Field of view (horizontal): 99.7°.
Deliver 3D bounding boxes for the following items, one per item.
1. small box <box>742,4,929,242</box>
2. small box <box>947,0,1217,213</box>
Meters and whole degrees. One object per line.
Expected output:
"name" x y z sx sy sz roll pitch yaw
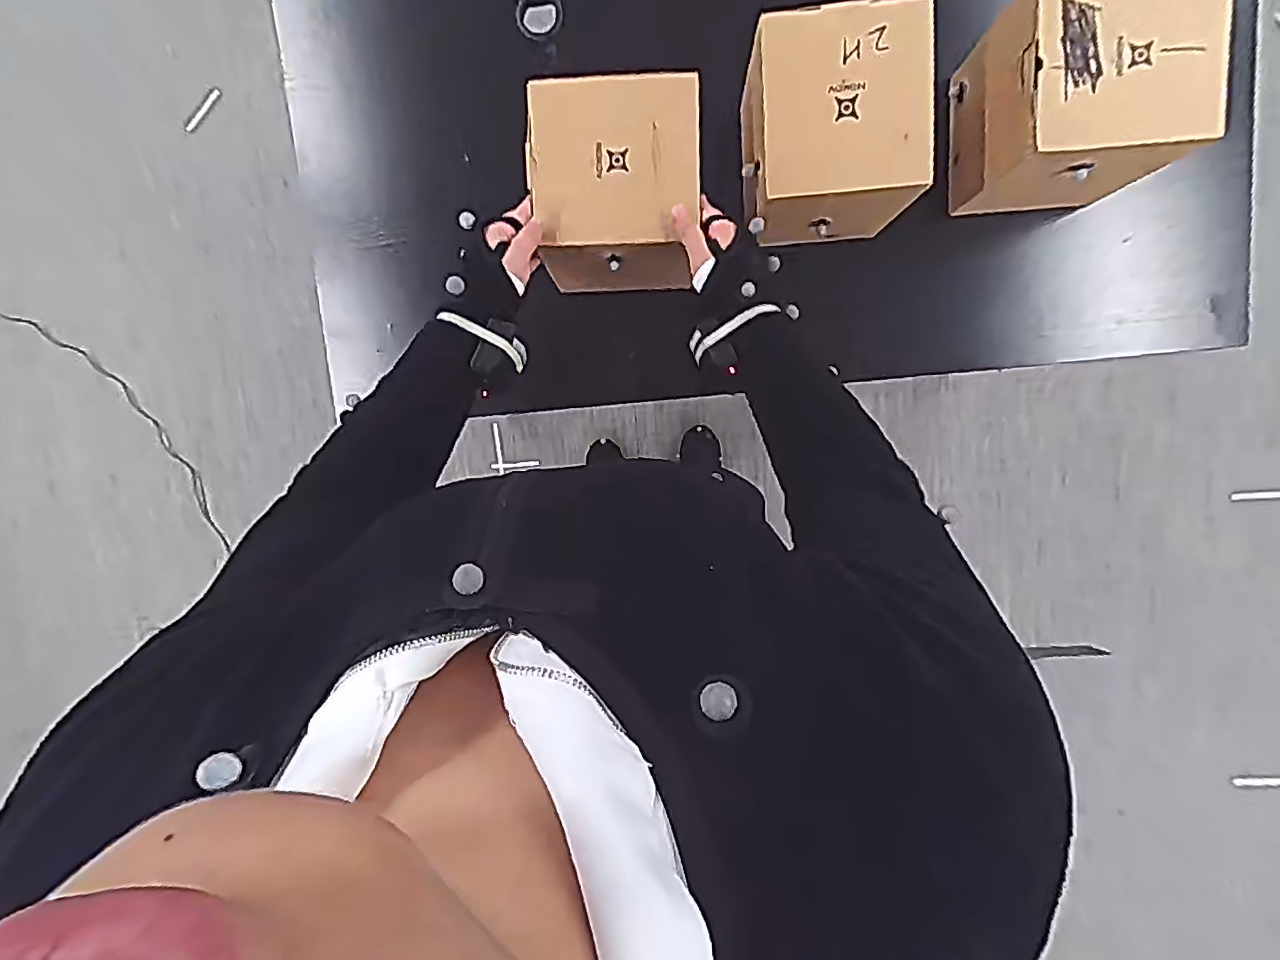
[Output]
"small box" 0.211 -0.388 0.625 0.168 0.176 0.179 -3 96 4
"small box" 0.470 -0.415 0.604 0.179 0.176 0.168 -2 97 4
